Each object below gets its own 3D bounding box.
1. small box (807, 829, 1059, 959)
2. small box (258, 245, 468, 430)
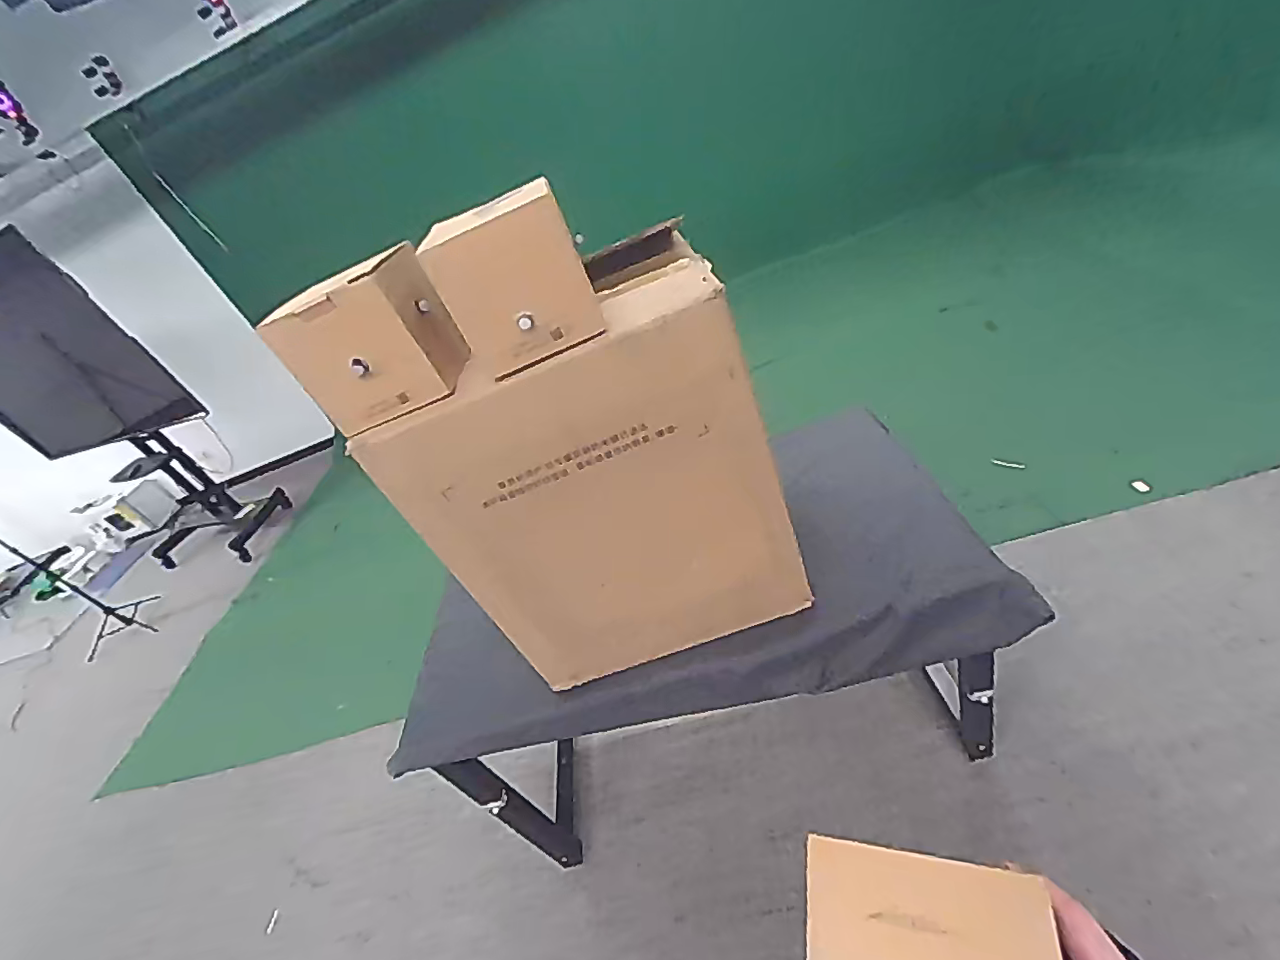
[{"bbox_3d":[0.227,0.403,0.432,0.168,0.176,0.179,-4,52,21],"label":"small box"},{"bbox_3d":[-0.358,-0.189,0.742,0.168,0.176,0.179,-21,35,8],"label":"small box"}]
